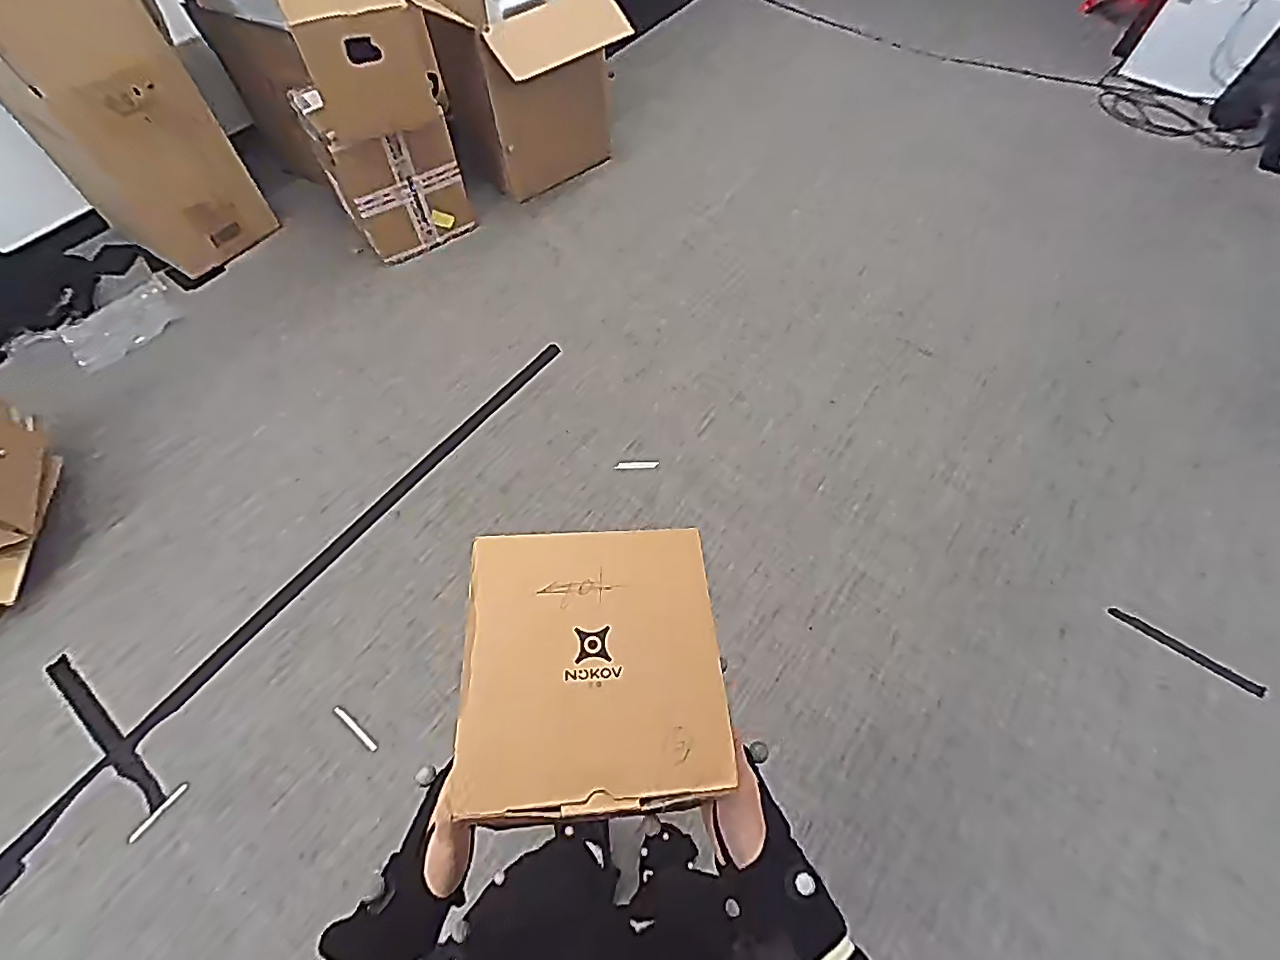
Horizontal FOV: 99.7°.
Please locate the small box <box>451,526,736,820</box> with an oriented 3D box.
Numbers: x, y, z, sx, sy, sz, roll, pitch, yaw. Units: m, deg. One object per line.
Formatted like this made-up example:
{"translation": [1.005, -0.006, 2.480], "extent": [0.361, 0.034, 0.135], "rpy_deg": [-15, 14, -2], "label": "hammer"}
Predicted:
{"translation": [-0.037, 0.153, 0.416], "extent": [0.168, 0.176, 0.179], "rpy_deg": [-1, 55, -8], "label": "small box"}
